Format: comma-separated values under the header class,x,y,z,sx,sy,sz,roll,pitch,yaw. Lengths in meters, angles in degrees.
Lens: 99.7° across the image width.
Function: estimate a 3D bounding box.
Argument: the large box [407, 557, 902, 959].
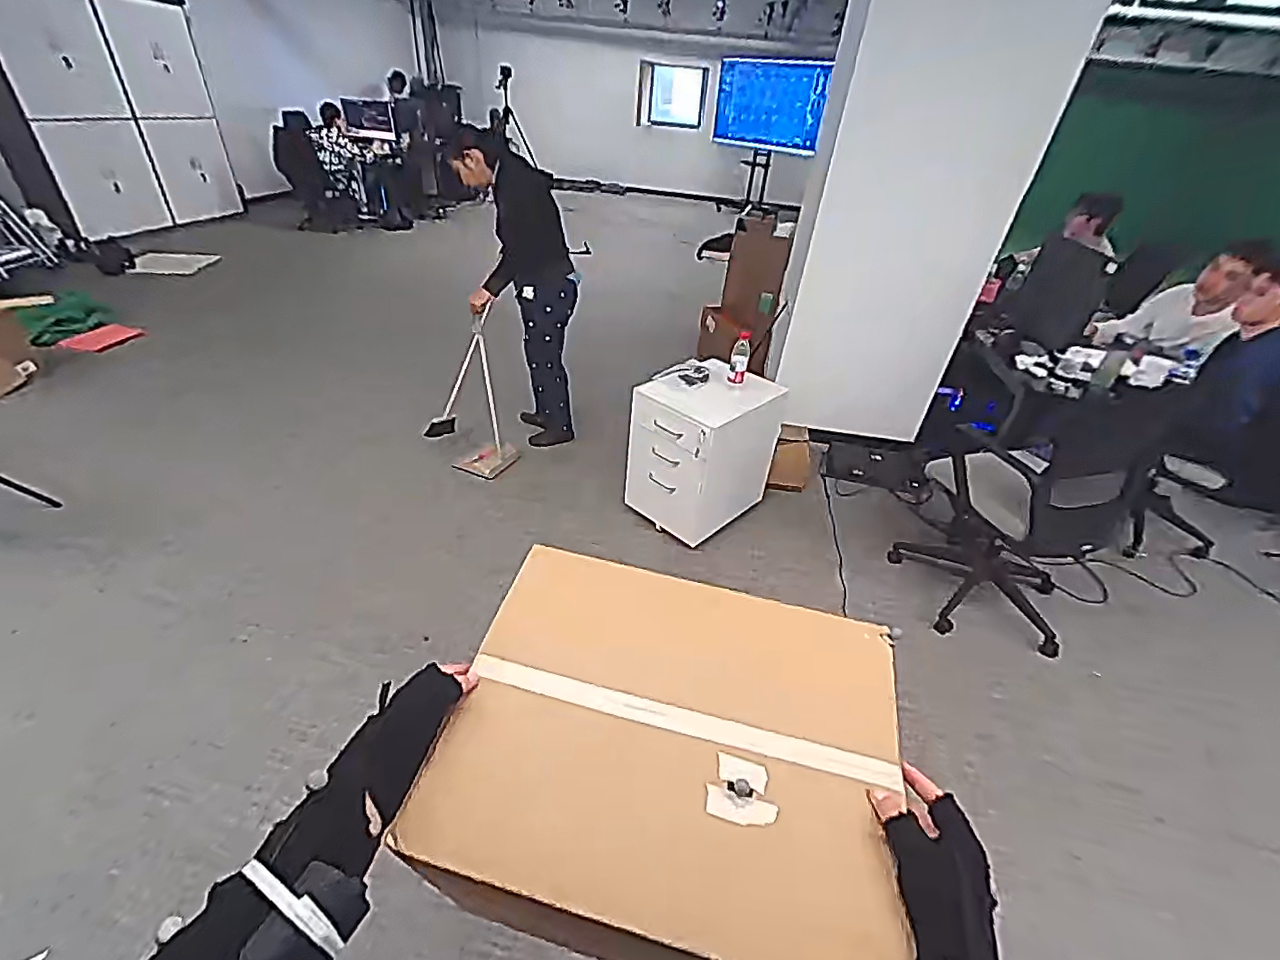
class,x,y,z,sx,sy,sz,roll,pitch,yaw
large box,0.025,0.338,0.622,0.408,0.320,0.320,12,46,8
